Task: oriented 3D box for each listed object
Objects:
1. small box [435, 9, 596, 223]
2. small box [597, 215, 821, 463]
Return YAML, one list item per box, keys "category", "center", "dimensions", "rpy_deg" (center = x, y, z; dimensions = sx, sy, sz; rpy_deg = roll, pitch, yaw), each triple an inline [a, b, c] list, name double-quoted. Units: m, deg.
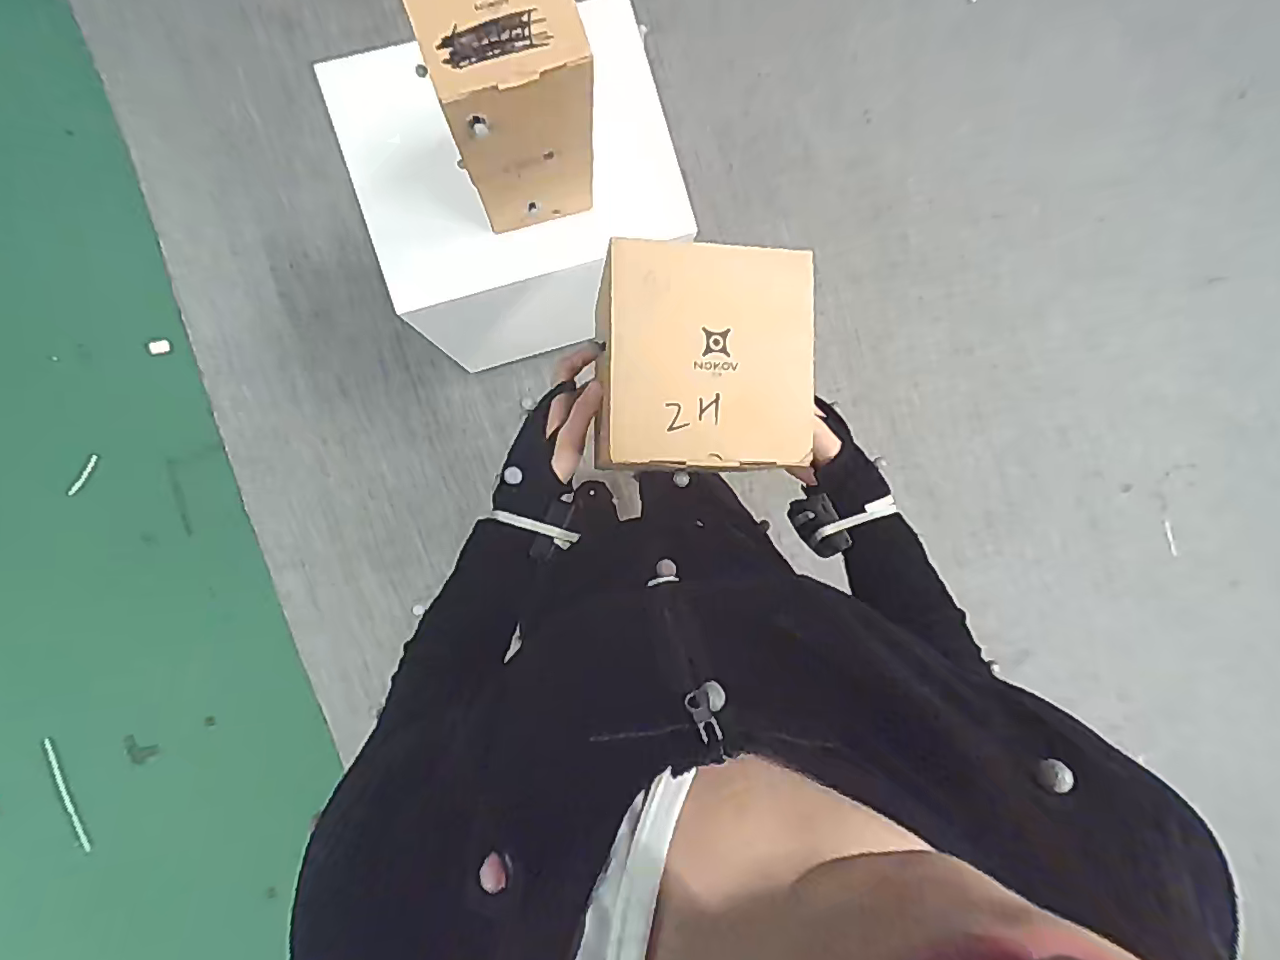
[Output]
- category: "small box"
  center: [-0.168, -0.504, 0.772]
  dimensions: [0.168, 0.176, 0.179]
  rpy_deg: [-18, 94, -5]
- category: "small box"
  center: [0.049, -0.109, 0.494]
  dimensions: [0.168, 0.176, 0.179]
  rpy_deg: [1, 89, -8]
